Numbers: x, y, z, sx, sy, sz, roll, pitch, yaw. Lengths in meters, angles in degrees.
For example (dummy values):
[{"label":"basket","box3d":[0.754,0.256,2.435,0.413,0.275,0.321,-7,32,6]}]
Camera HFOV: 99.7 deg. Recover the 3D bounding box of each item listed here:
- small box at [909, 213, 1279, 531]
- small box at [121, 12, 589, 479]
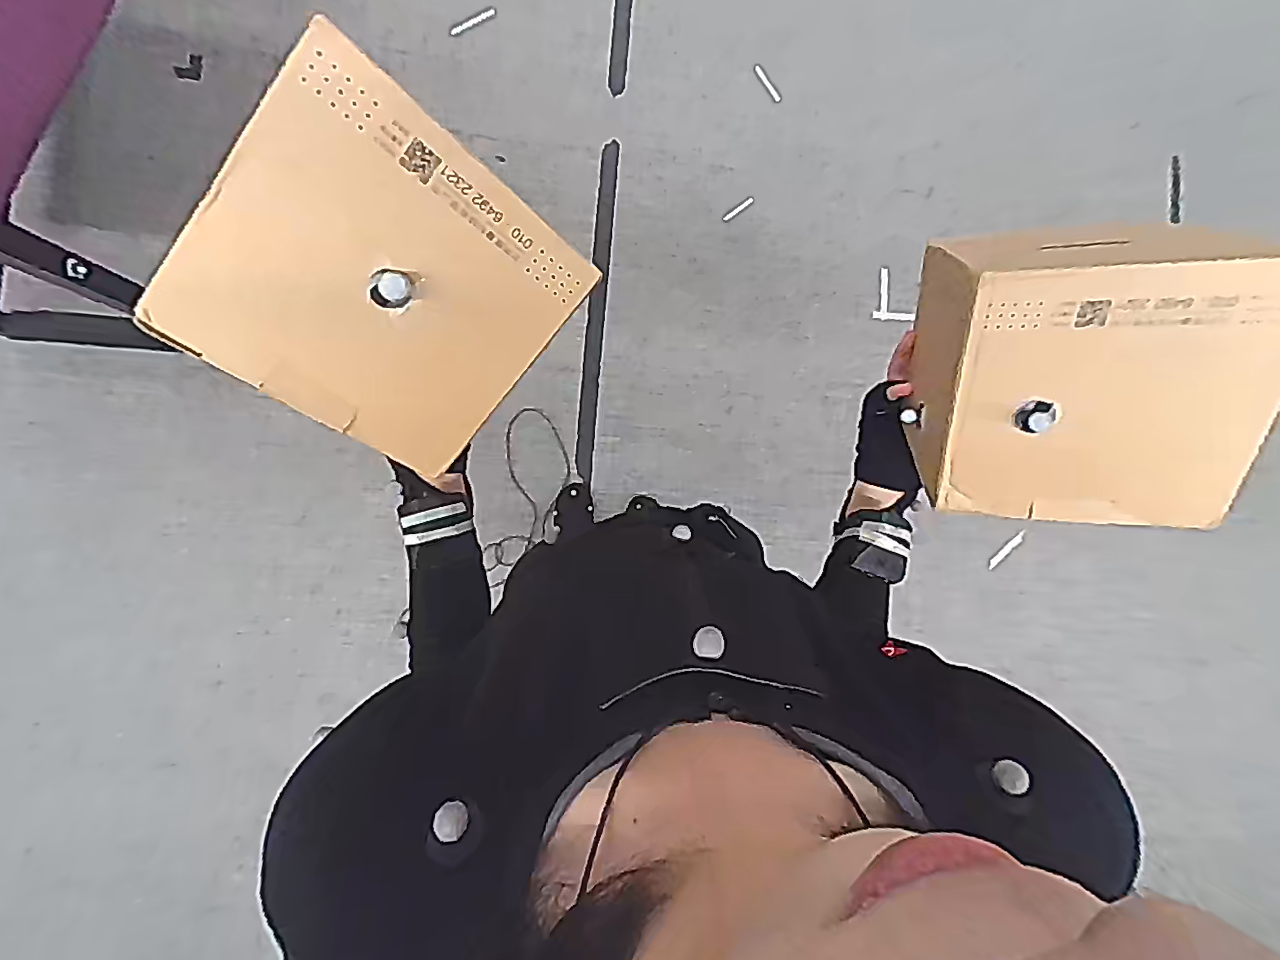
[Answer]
[{"label":"small box","box3d":[0.303,-0.086,0.383,0.168,0.179,0.176,5,120,16]},{"label":"small box","box3d":[-0.154,-0.137,0.341,0.168,0.179,0.176,35,102,-31]}]
